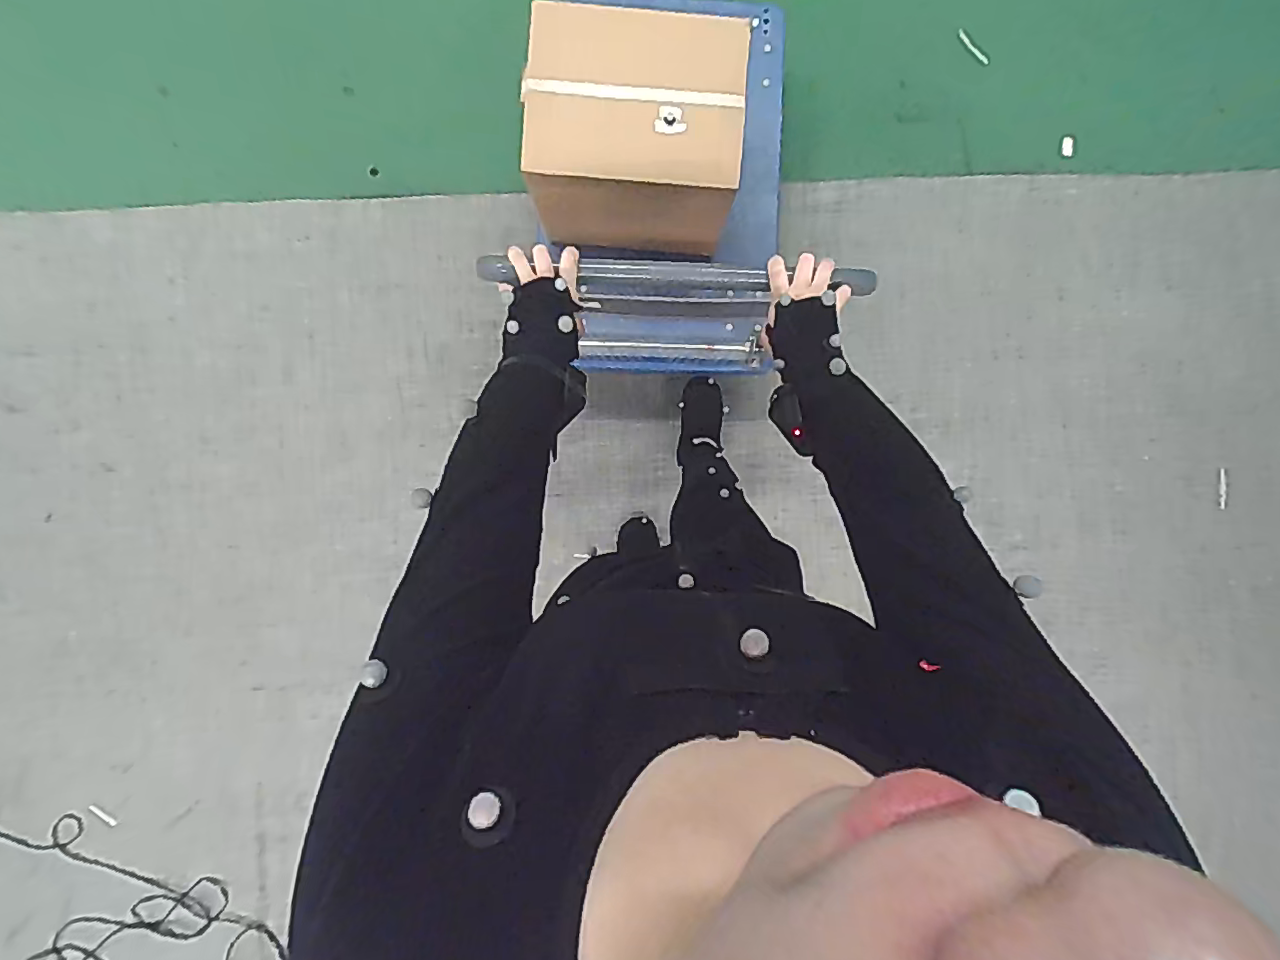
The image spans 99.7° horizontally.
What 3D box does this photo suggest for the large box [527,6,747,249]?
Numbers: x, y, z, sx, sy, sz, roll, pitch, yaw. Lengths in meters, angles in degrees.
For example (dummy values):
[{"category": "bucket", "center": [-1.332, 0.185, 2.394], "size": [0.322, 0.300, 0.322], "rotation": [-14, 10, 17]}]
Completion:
[{"category": "large box", "center": [-0.010, -0.719, 1.157], "size": [0.408, 0.320, 0.320], "rotation": [4, 91, -2]}]
